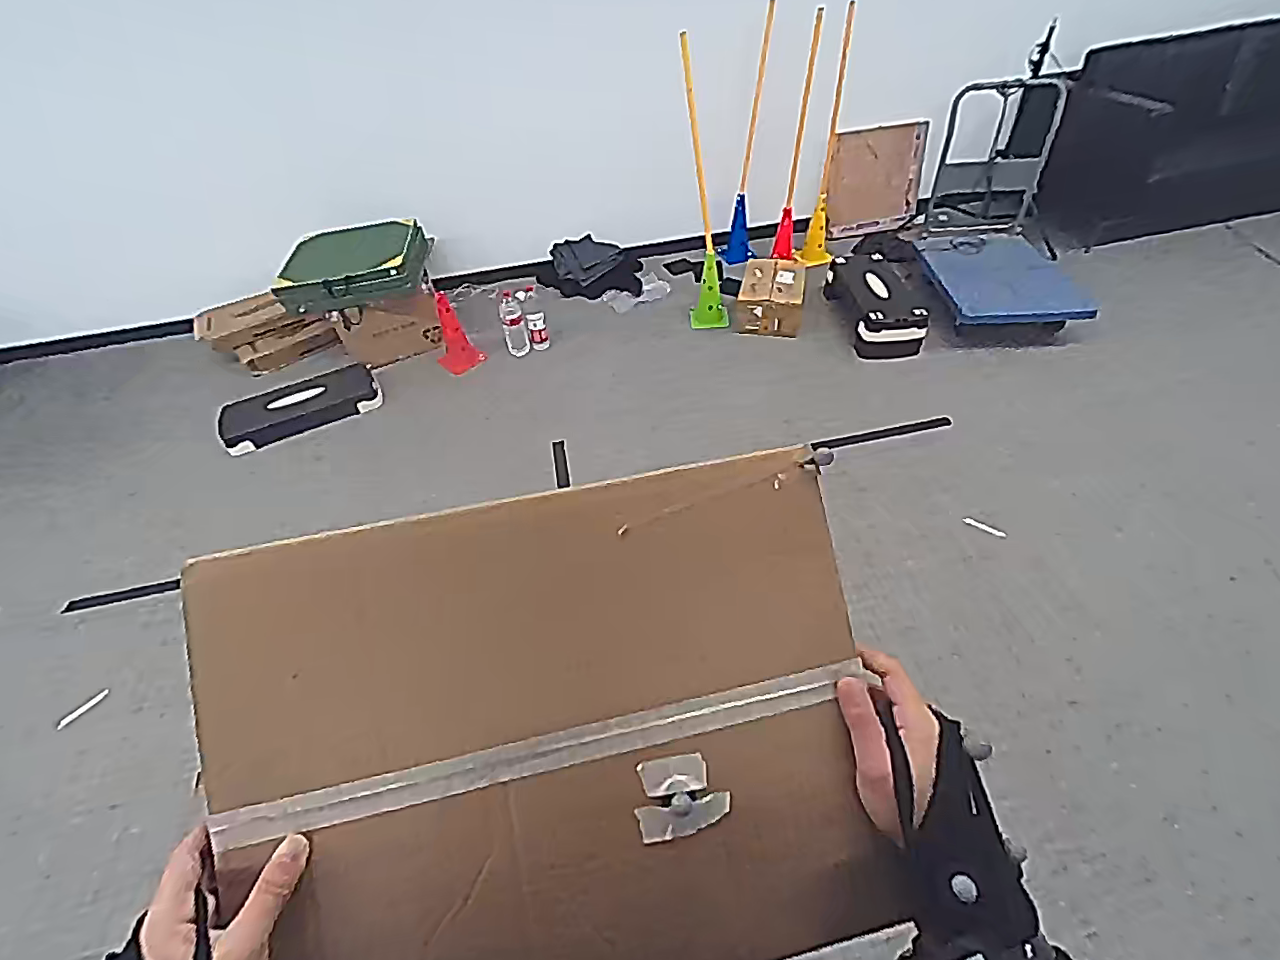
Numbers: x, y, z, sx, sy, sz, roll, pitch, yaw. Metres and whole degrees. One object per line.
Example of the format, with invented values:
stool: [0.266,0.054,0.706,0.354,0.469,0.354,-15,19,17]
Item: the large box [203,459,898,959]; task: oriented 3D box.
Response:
large box: [-0.067,0.190,0.494,0.408,0.320,0.320,-11,86,-8]
